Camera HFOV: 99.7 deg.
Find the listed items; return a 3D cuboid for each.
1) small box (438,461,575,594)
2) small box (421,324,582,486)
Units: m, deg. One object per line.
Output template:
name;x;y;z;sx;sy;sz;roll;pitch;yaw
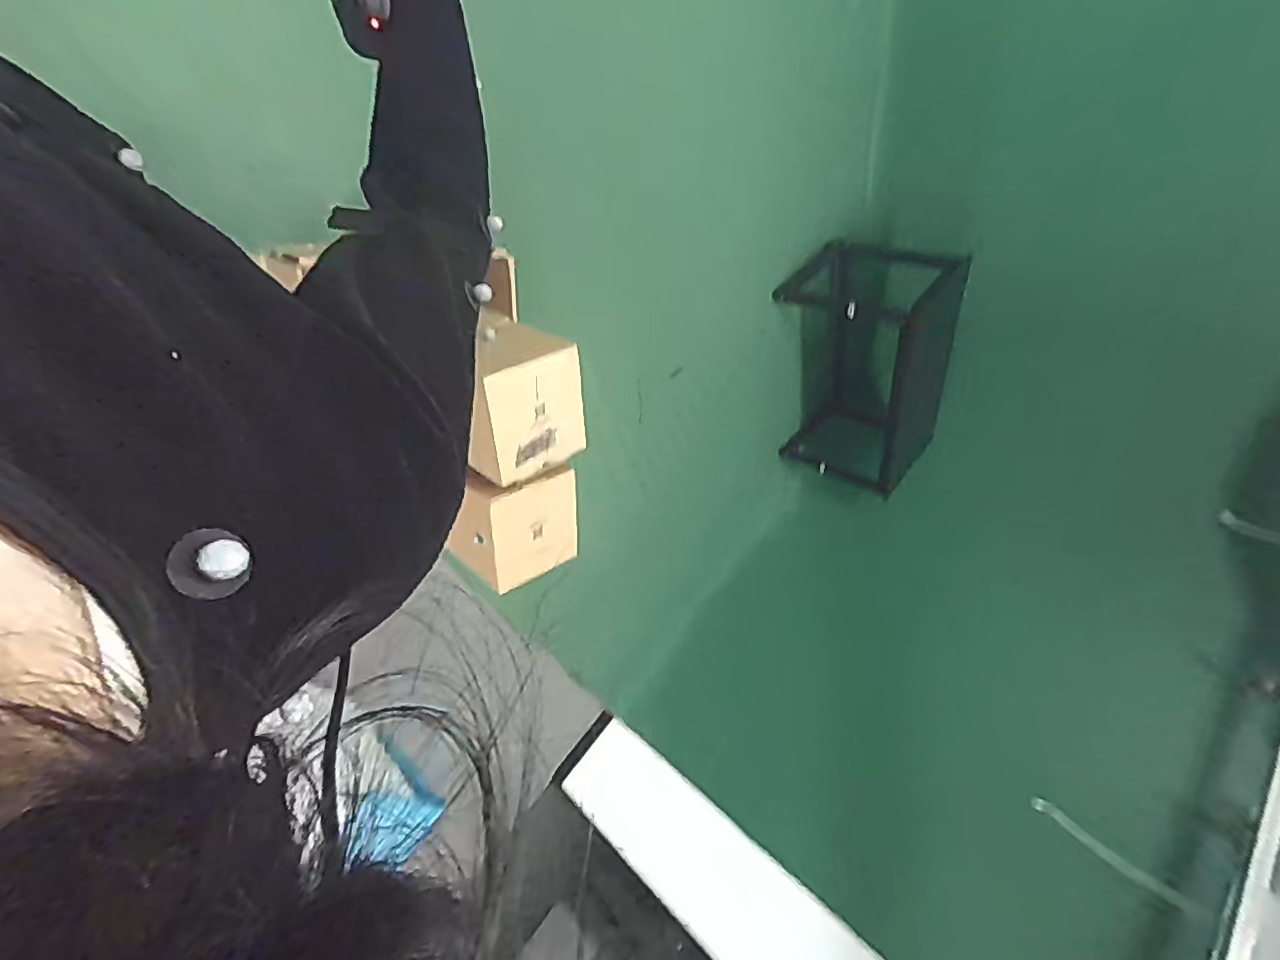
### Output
small box;-0.230;0.058;0.934;0.168;0.176;0.179;-23;126;-40
small box;-0.210;-0.124;0.836;0.168;0.176;0.179;-31;134;-37
